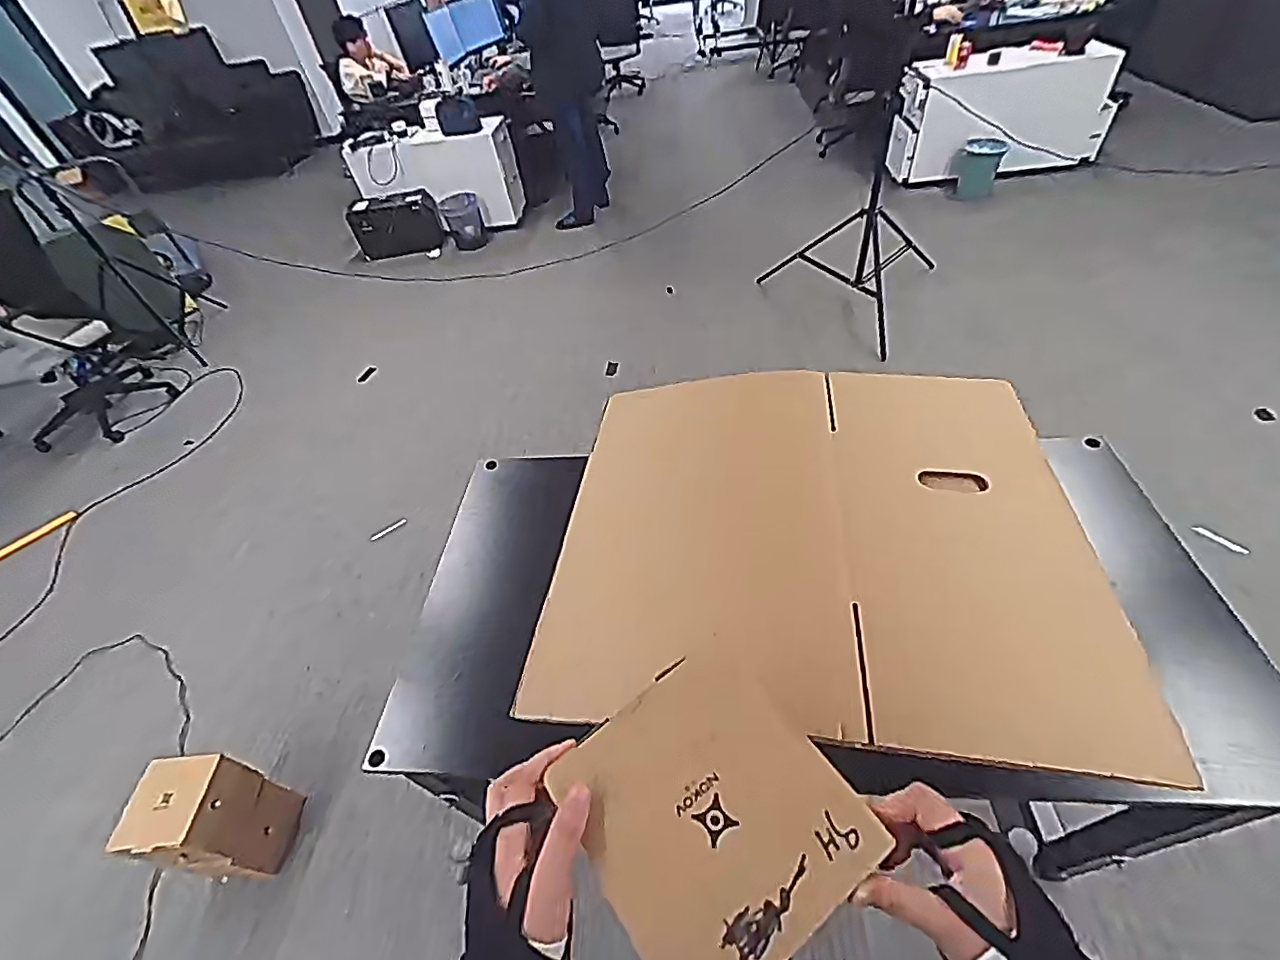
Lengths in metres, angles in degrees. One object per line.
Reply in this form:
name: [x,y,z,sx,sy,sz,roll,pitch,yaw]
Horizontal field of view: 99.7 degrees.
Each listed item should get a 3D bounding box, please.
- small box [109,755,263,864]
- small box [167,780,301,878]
small box: [-0.992,0.738,1.205,0.168,0.176,0.179,-7,46,2]
small box: [-0.972,0.852,1.318,0.168,0.176,0.179,-5,47,5]
